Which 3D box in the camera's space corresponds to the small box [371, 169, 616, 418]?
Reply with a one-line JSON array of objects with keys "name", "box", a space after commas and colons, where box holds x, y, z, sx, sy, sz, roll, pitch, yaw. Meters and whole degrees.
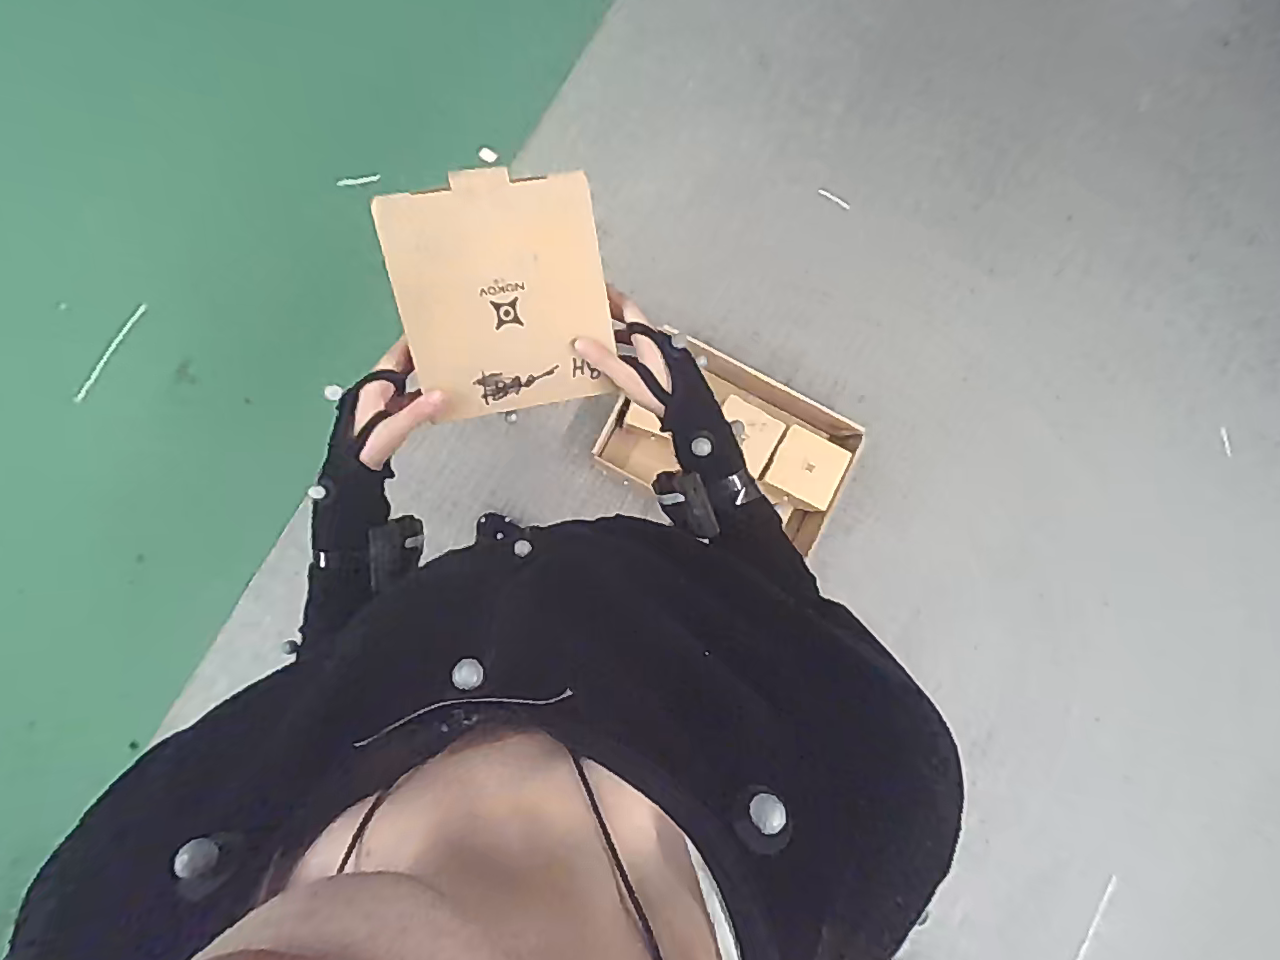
[{"name": "small box", "box": [-0.126, -0.166, 0.512, 0.168, 0.176, 0.179, -11, 106, -7]}]
